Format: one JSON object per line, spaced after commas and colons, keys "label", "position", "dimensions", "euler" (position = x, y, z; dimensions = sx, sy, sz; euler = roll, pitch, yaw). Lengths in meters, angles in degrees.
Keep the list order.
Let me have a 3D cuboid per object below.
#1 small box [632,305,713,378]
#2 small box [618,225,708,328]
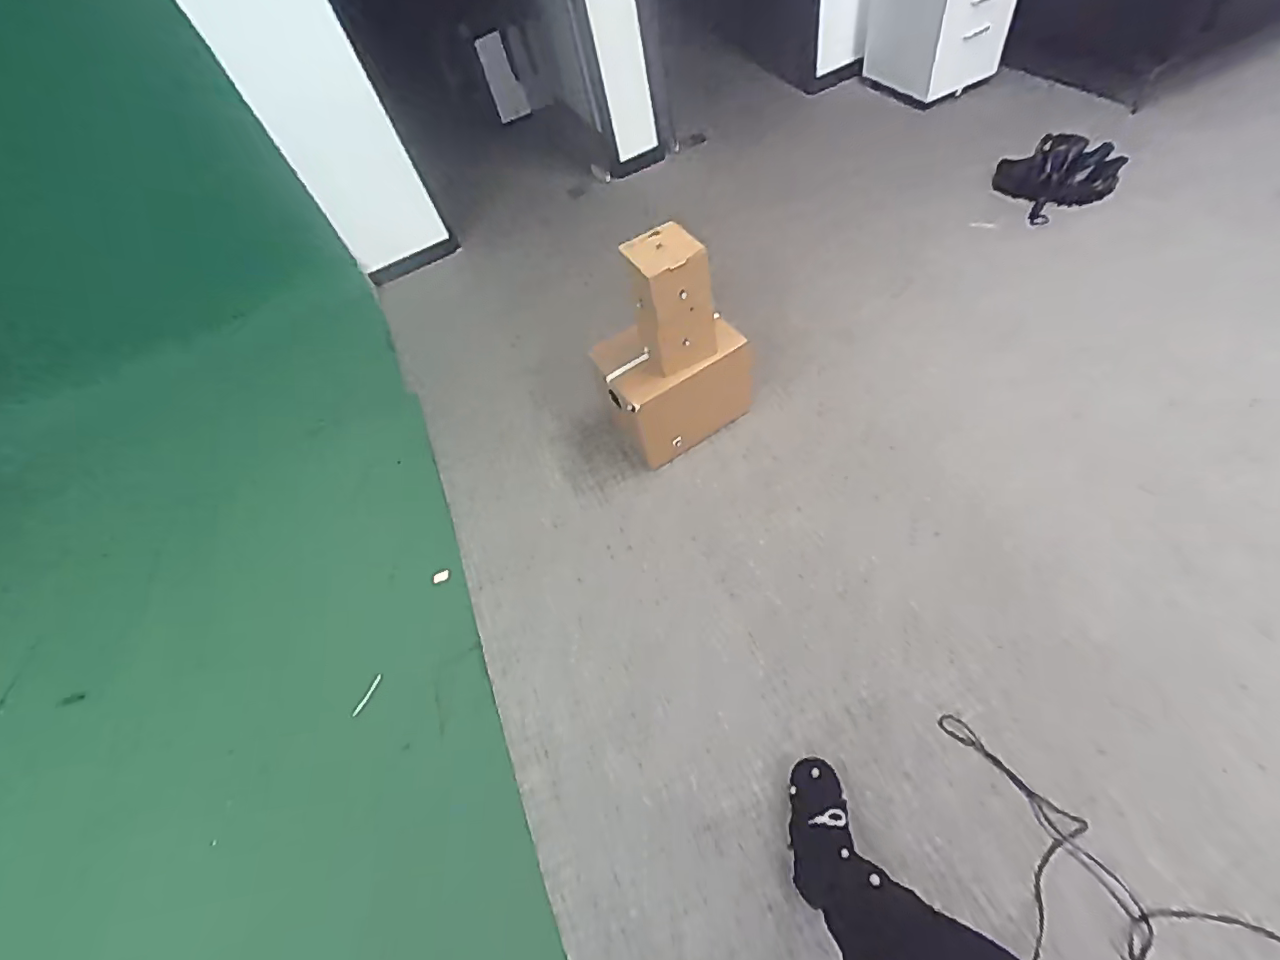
{"label": "small box", "position": [0.099, -0.425, 1.543], "dimensions": [0.179, 0.176, 0.168], "euler": [-28, 54, -6]}
{"label": "small box", "position": [0.066, -0.523, 1.417], "dimensions": [0.168, 0.176, 0.179], "euler": [-29, 55, -7]}
